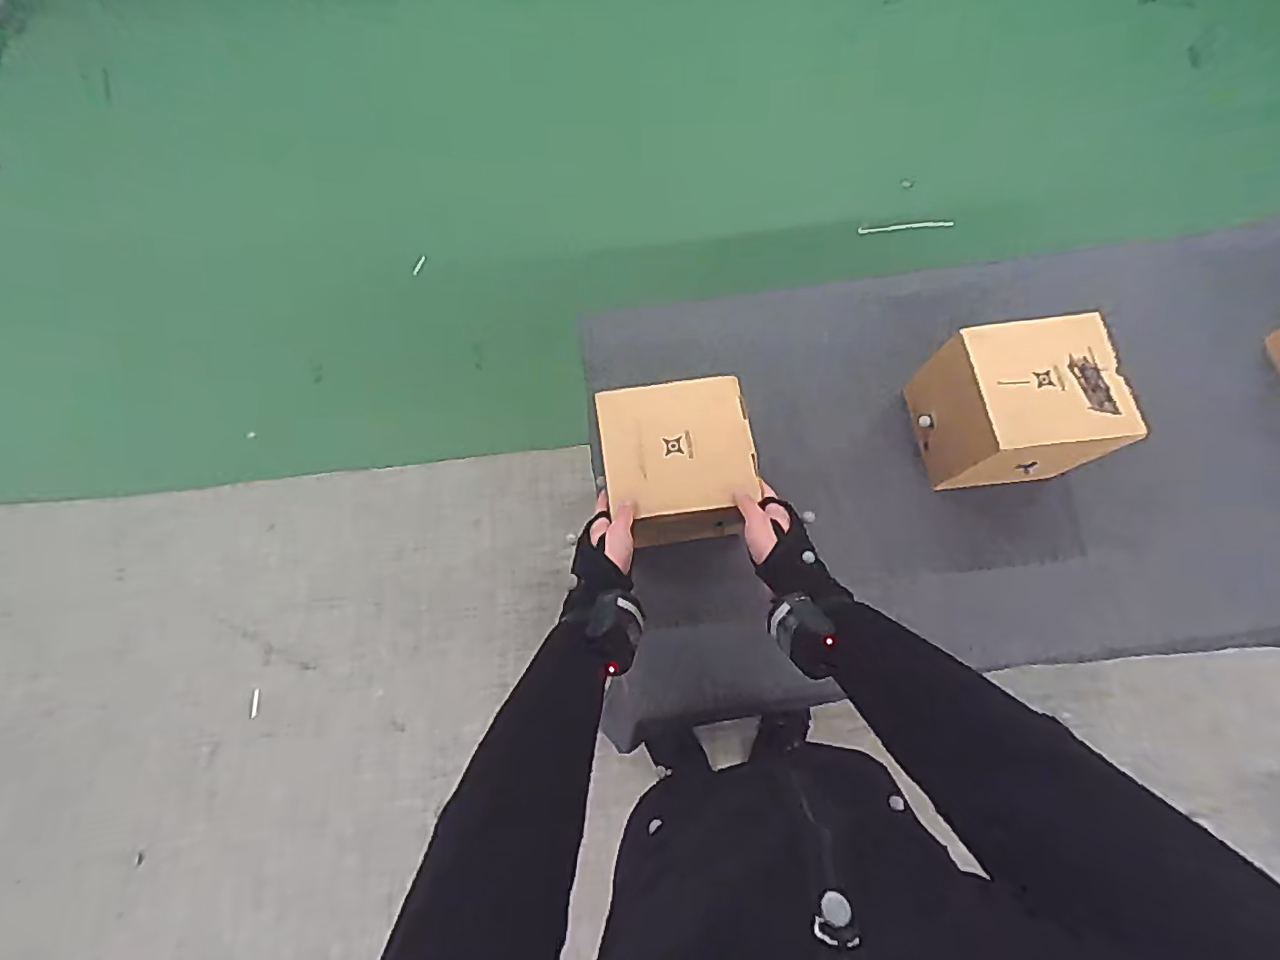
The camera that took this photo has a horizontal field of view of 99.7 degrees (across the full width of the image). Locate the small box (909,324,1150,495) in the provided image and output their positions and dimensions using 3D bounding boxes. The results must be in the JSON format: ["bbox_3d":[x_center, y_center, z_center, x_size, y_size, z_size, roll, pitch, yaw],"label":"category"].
[{"bbox_3d":[0.498,-0.085,0.721,0.179,0.176,0.168,-5,71,-1],"label":"small box"}]

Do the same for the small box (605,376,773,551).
[{"bbox_3d":[0.053,-0.013,0.697,0.179,0.176,0.168,-8,70,-2],"label":"small box"}]
